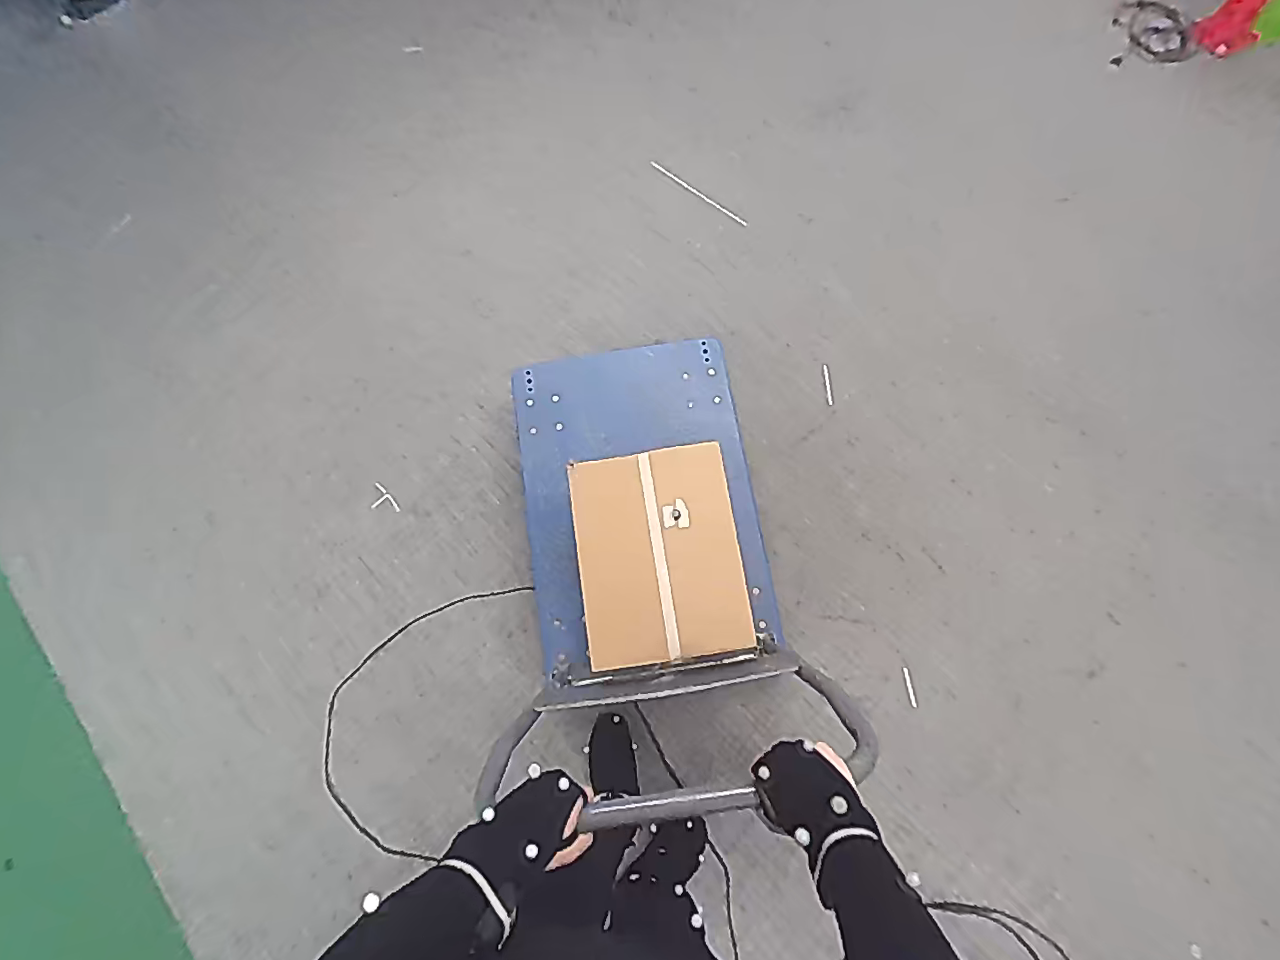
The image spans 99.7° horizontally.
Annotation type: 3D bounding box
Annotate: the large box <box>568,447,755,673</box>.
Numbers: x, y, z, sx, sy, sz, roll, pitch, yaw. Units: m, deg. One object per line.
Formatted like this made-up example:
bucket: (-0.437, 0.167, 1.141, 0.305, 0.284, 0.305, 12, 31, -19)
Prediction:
large box: (0.042, 0.182, 1.193, 0.320, 0.320, 0.408, -9, 76, 0)
